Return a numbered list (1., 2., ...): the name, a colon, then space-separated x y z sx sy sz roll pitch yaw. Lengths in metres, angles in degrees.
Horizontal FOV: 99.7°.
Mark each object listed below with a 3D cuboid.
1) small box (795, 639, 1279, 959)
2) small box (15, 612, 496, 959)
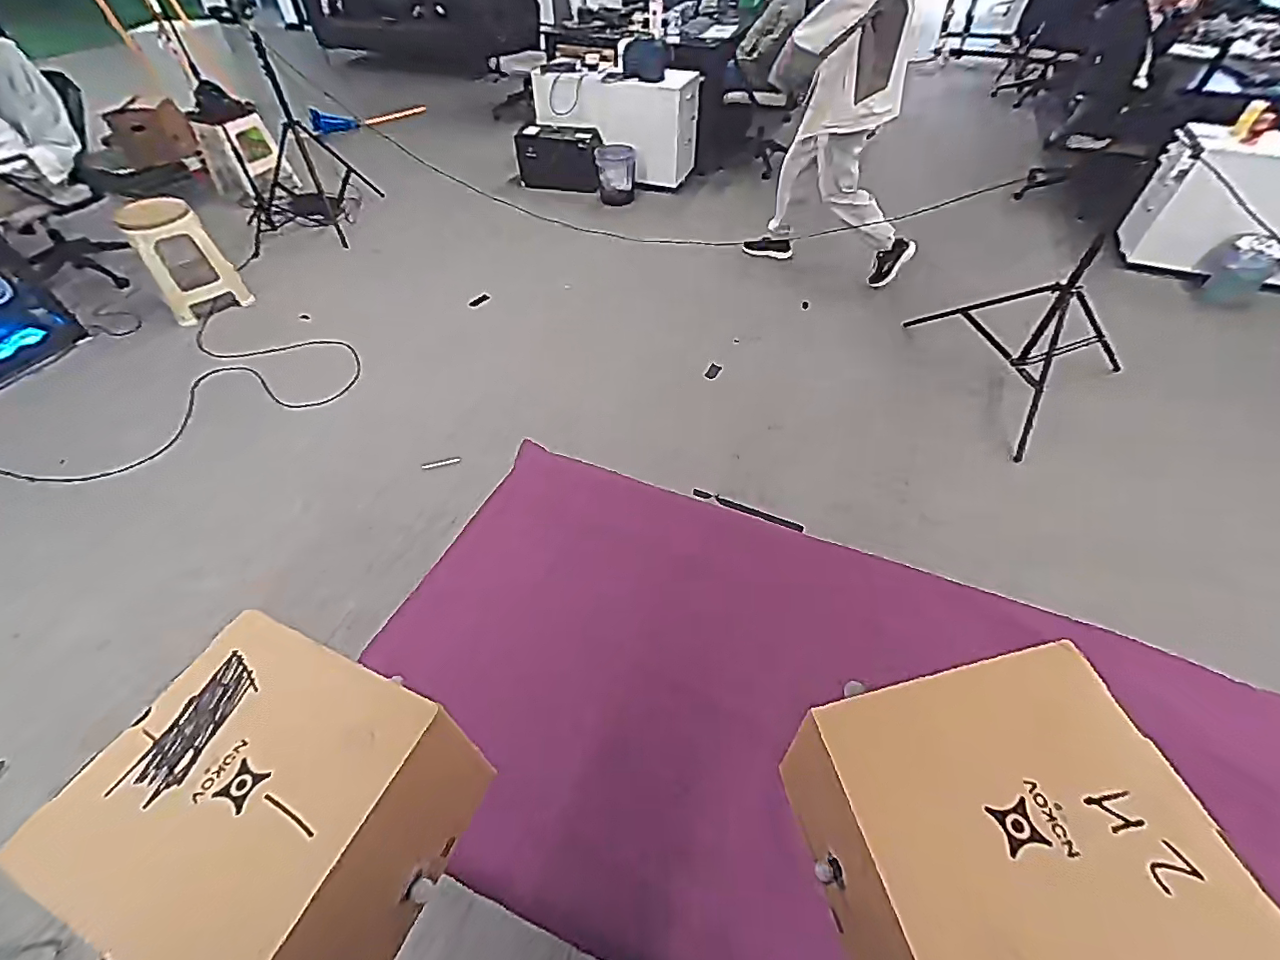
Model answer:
1. small box: 0.213 0.230 0.348 0.179 0.176 0.168 -13 51 -5
2. small box: -0.229 0.227 0.376 0.179 0.176 0.168 18 52 16
